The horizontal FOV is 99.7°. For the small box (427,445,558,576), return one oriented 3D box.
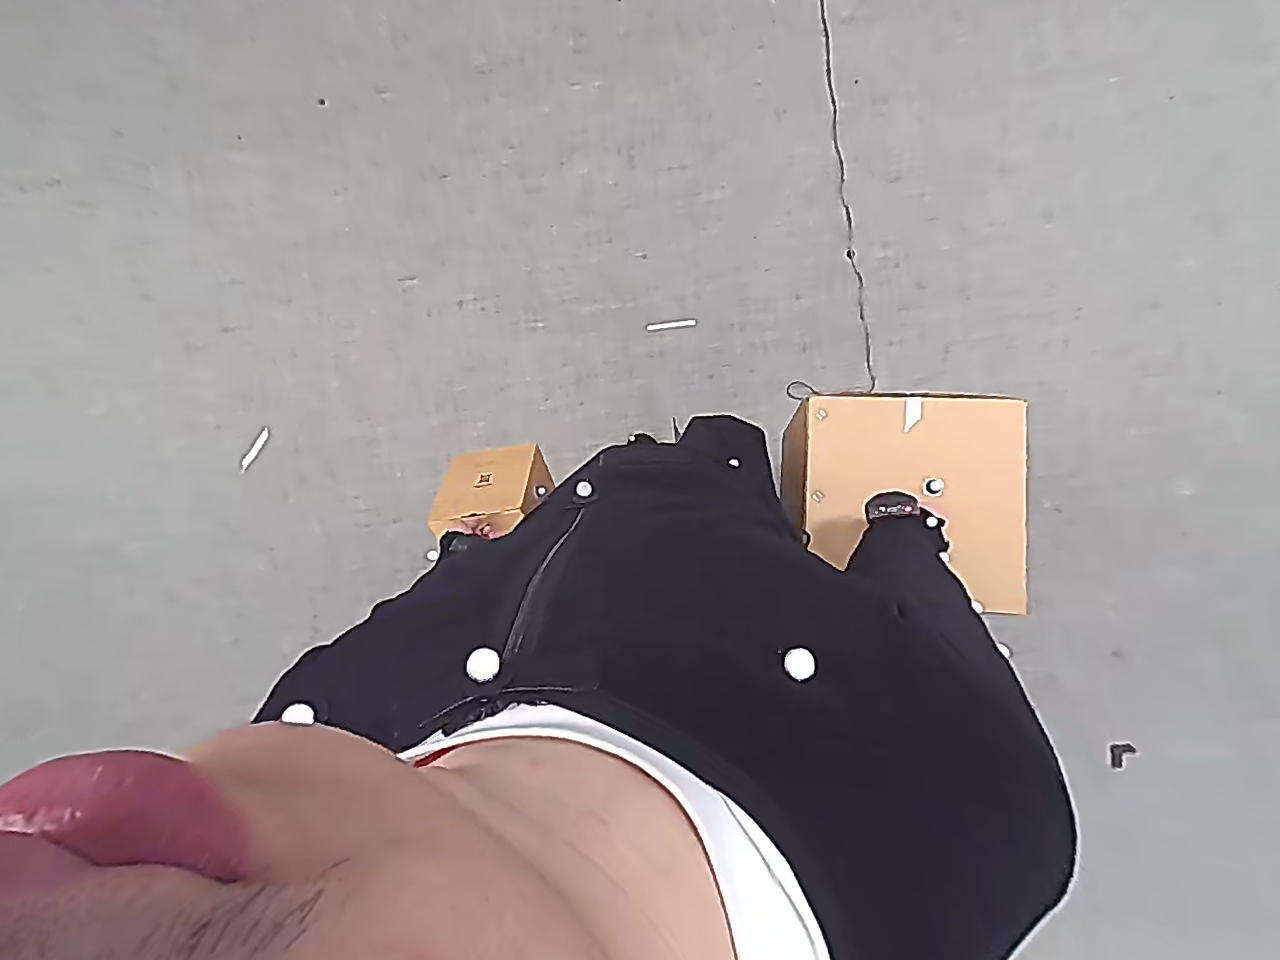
[{"bbox_3d":[-0.257,0.063,0.992,0.168,0.179,0.176,-8,132,7],"label":"small box"}]
